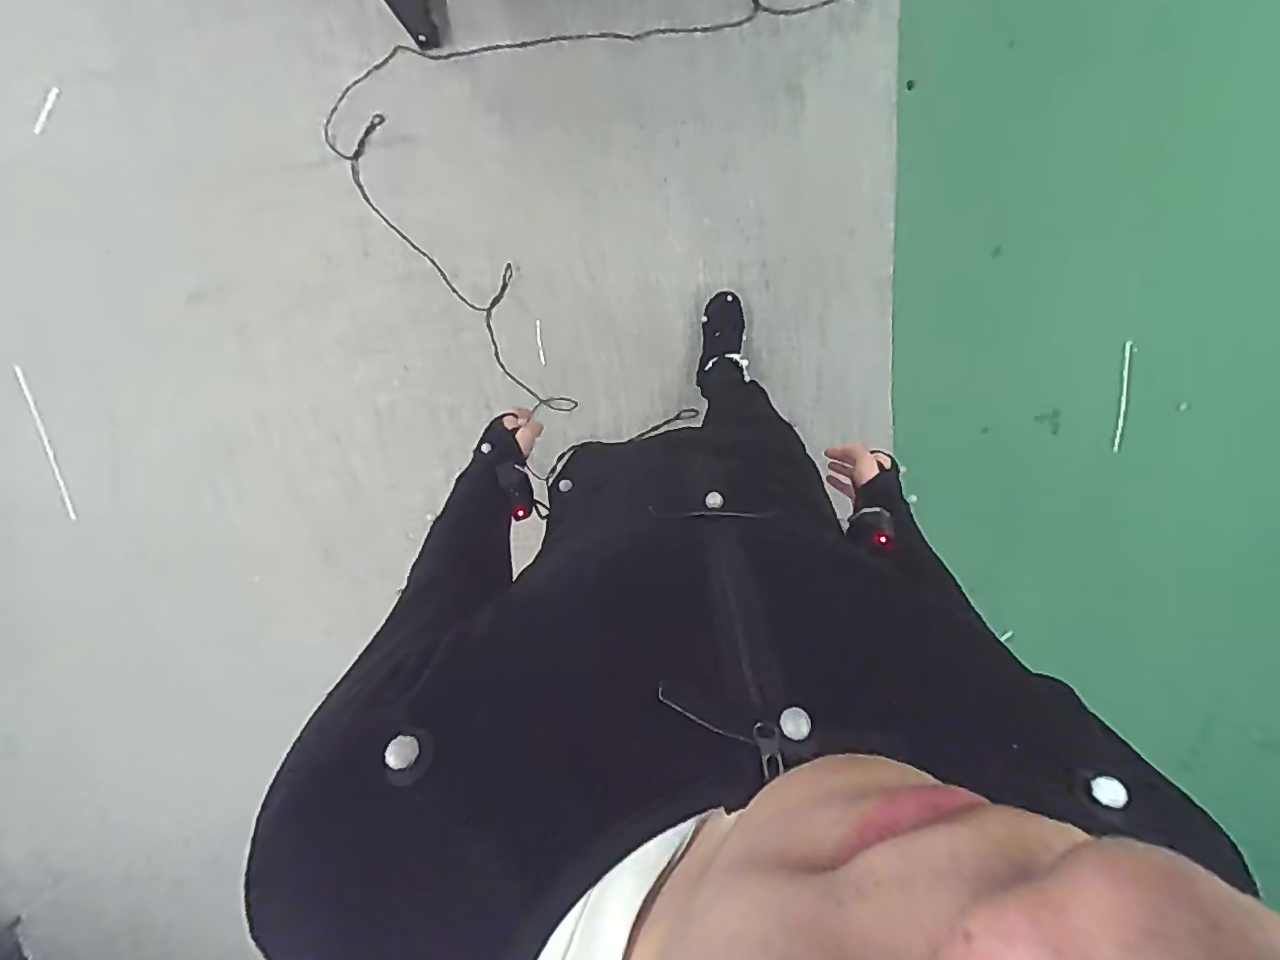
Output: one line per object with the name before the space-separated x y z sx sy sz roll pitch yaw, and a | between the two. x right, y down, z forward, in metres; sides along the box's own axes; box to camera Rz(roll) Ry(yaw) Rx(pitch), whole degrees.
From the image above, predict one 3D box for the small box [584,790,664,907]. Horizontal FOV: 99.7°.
small box | -0.035 0.880 1.303 0.179 0.176 0.168 -4 104 0
